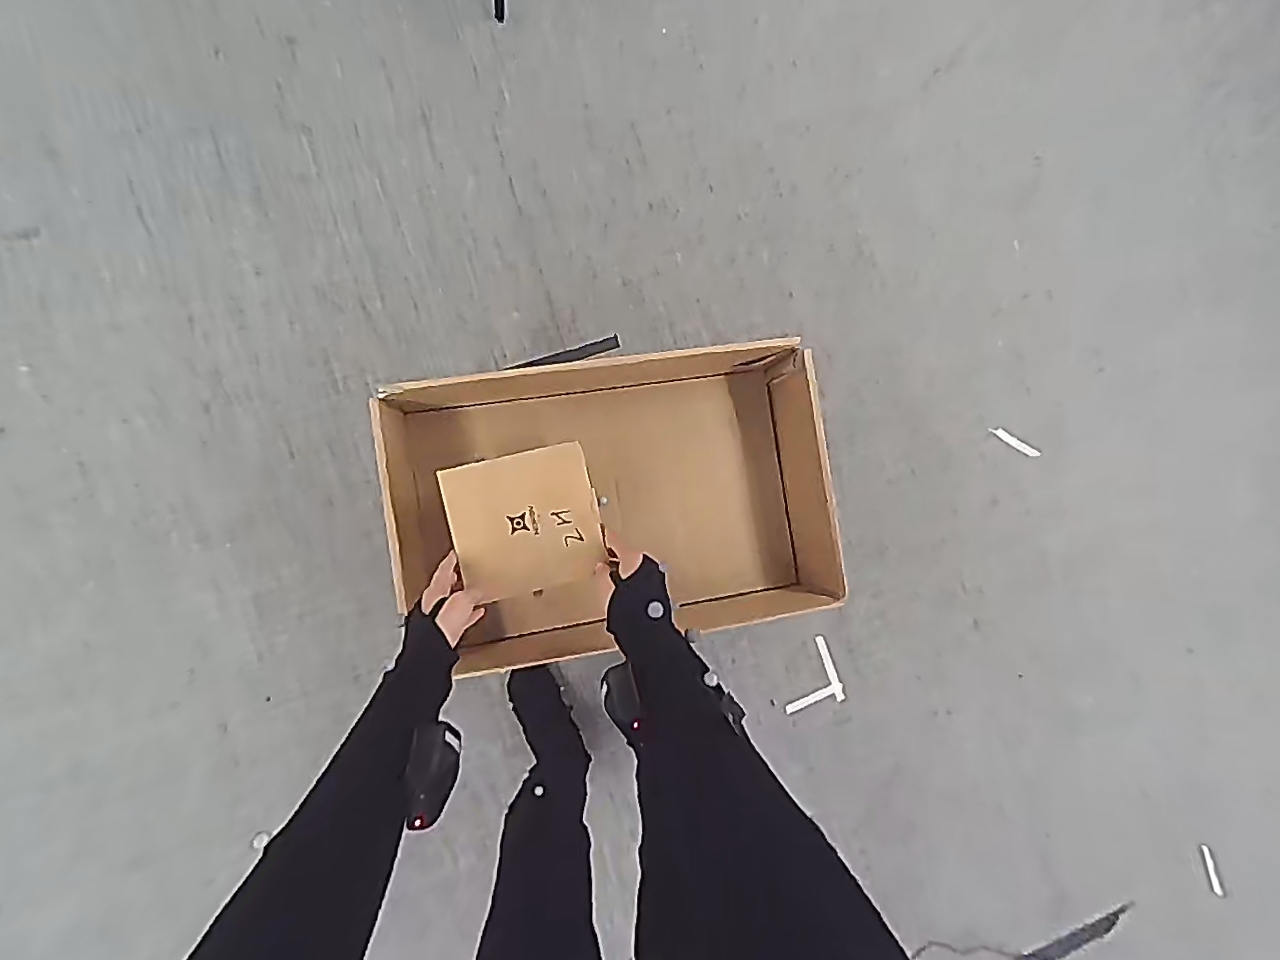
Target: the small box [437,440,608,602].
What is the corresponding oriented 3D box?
[{"bbox_3d":[-0.144,0.048,0.718,0.179,0.176,0.168,-13,92,-6],"label":"small box"}]
